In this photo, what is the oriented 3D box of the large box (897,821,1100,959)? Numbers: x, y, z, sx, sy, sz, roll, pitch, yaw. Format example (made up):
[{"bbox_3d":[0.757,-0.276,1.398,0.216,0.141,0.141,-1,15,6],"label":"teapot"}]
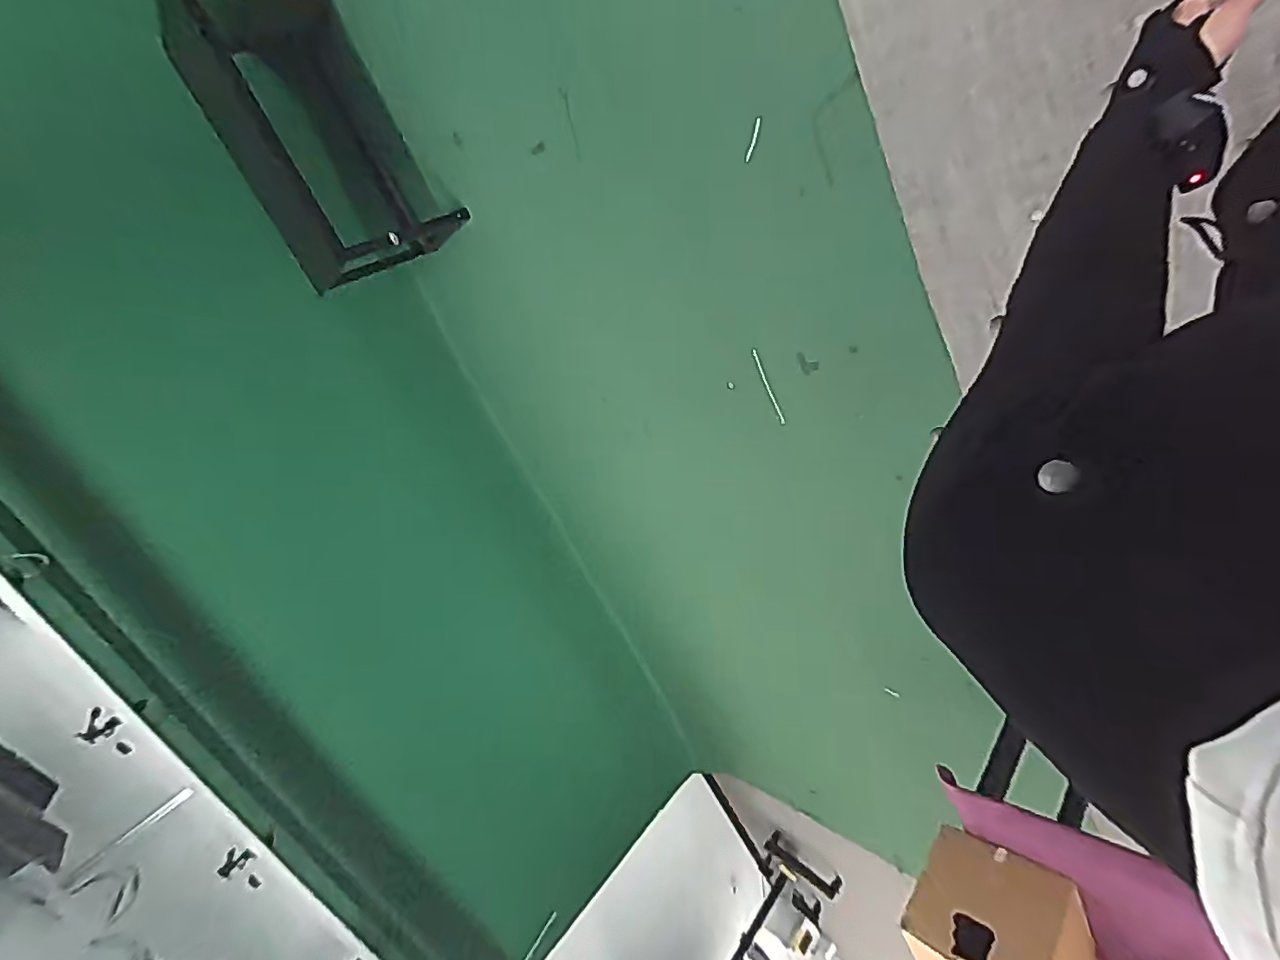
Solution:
[{"bbox_3d":[0.940,1.208,1.402,0.320,0.320,0.408,-4,118,52],"label":"large box"}]
